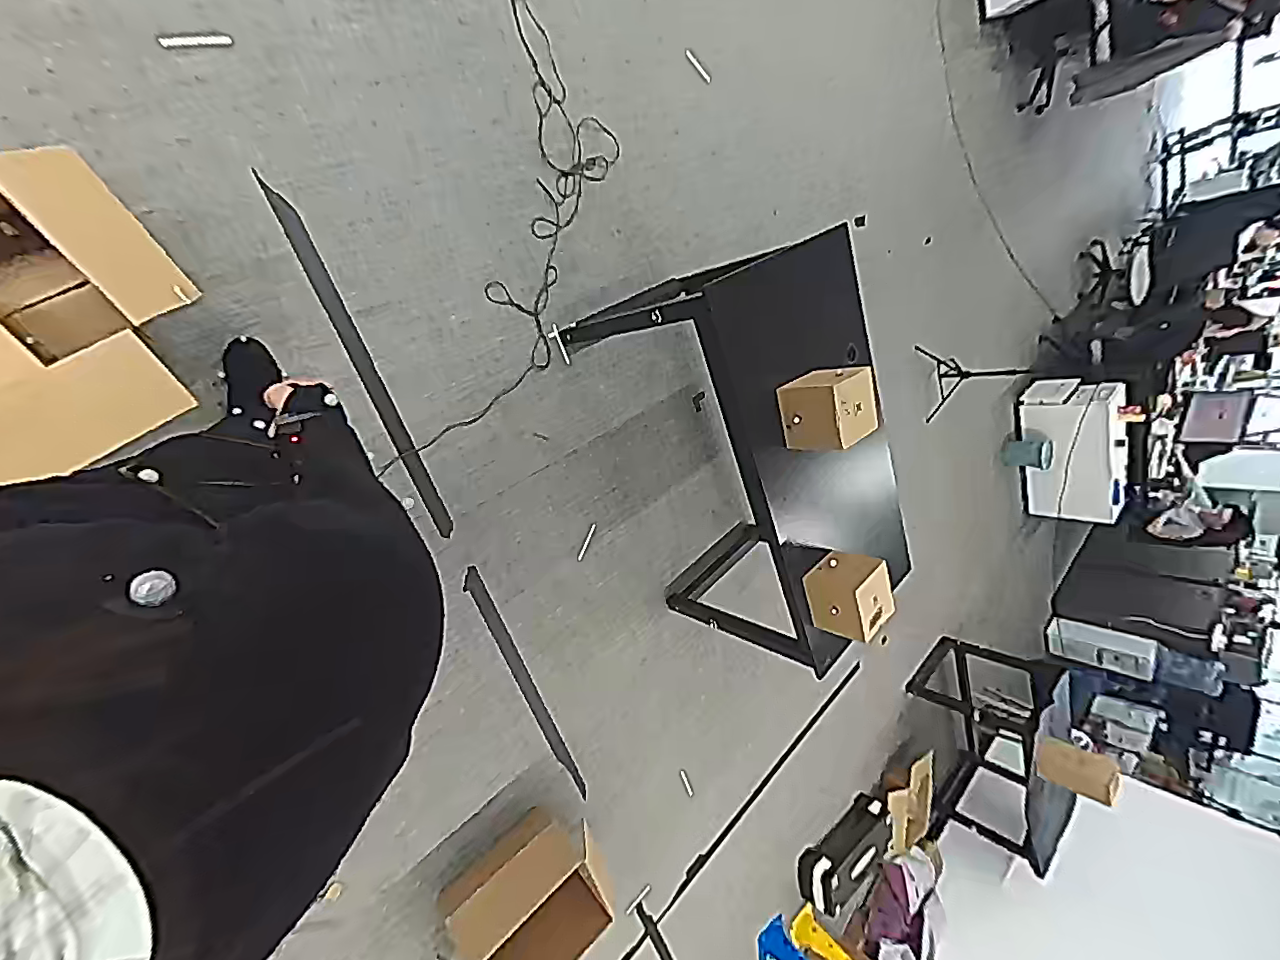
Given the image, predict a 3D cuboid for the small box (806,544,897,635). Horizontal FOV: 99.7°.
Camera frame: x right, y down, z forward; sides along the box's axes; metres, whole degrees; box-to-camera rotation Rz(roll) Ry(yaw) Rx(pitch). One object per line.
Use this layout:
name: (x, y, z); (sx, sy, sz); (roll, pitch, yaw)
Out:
small box: (0.601, 0.306, 1.544); (0.168, 0.176, 0.179); (-32, 112, -31)

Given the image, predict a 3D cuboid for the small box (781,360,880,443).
small box: (0.491, -0.205, 1.396); (0.179, 0.176, 0.168); (-27, 111, -32)
